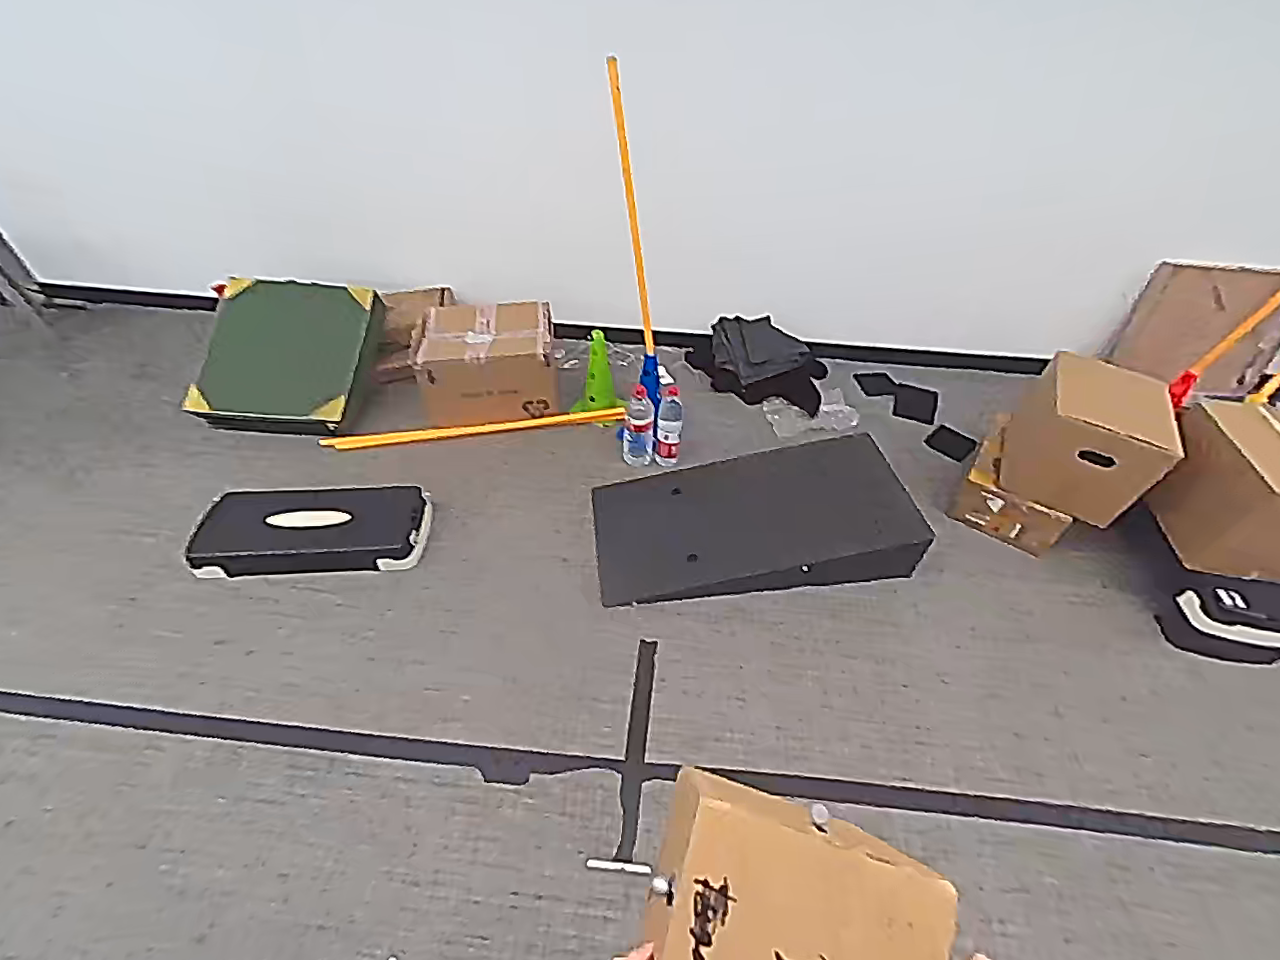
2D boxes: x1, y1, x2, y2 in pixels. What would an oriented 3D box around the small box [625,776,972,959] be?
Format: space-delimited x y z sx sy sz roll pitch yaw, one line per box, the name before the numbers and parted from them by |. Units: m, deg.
small box | 0.095 0.333 0.387 0.179 0.176 0.168 18 69 5
